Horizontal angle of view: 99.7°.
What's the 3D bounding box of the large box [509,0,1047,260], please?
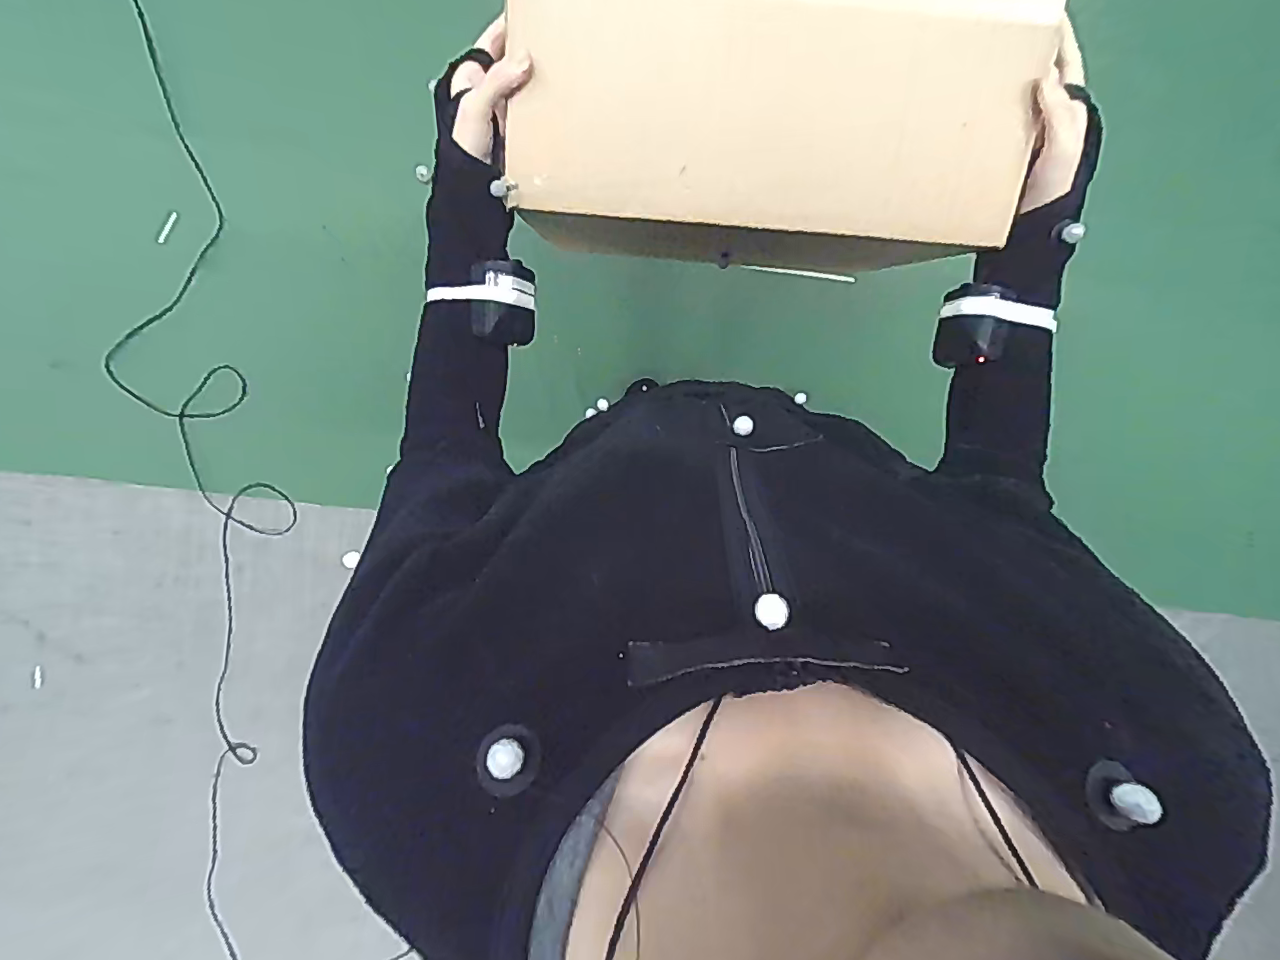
[{"bbox_3d":[0.102,-0.401,0.539,0.408,0.320,0.320,4,108,-2],"label":"large box"}]
